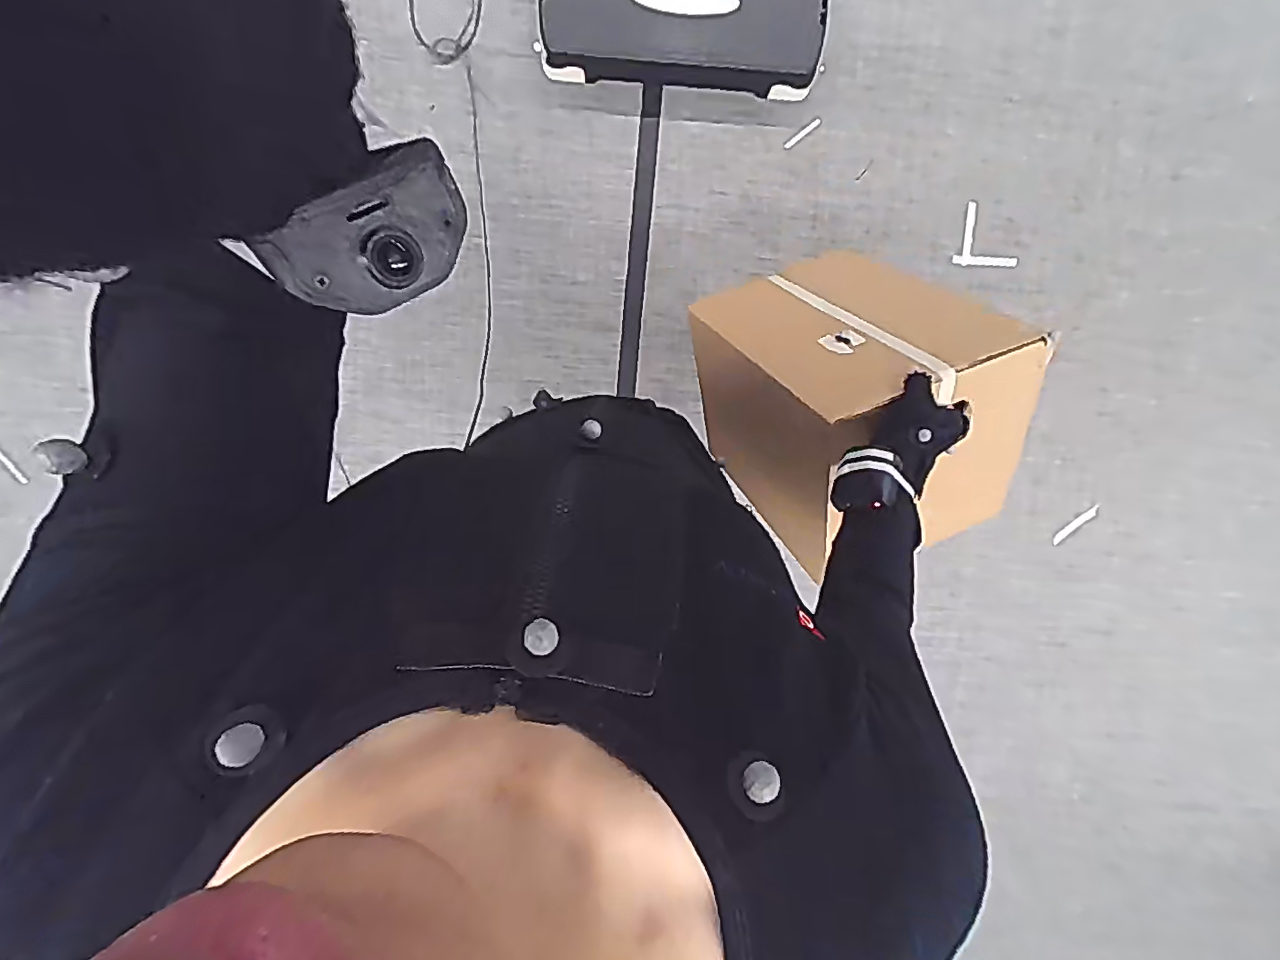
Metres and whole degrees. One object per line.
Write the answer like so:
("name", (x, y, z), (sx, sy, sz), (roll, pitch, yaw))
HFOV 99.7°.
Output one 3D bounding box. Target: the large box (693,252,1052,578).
("large box", (0.317, -0.124, 0.873), (0.320, 0.408, 0.320), (-21, 131, -8))
